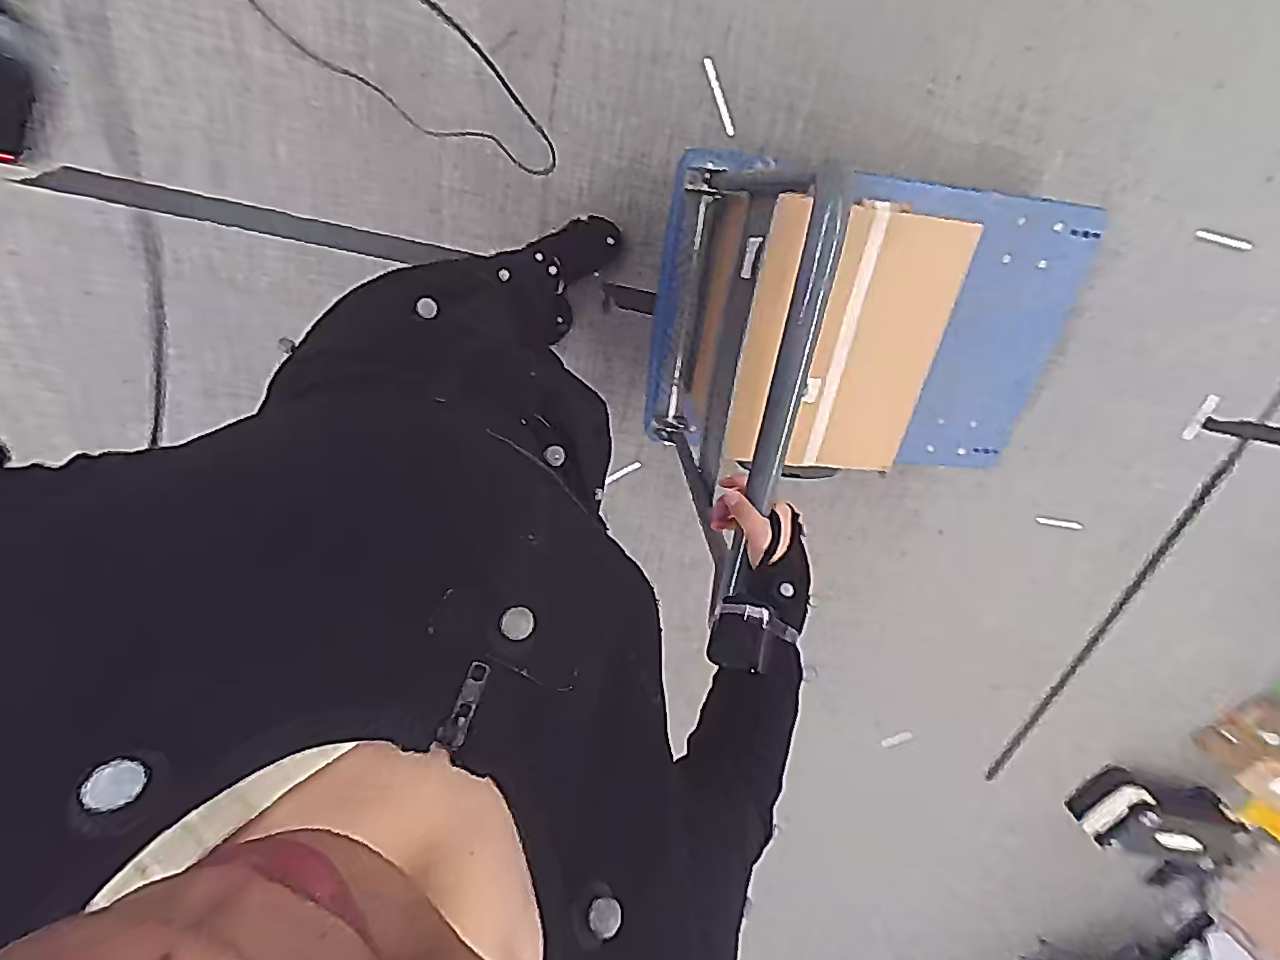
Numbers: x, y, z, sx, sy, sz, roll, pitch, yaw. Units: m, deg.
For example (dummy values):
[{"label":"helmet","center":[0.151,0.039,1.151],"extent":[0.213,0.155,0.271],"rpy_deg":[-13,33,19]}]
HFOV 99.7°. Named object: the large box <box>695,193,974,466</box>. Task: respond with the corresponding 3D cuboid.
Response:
[{"label":"large box","center":[0.302,-0.280,0.981],"extent":[0.320,0.320,0.408],"rpy_deg":[4,118,-7]}]
